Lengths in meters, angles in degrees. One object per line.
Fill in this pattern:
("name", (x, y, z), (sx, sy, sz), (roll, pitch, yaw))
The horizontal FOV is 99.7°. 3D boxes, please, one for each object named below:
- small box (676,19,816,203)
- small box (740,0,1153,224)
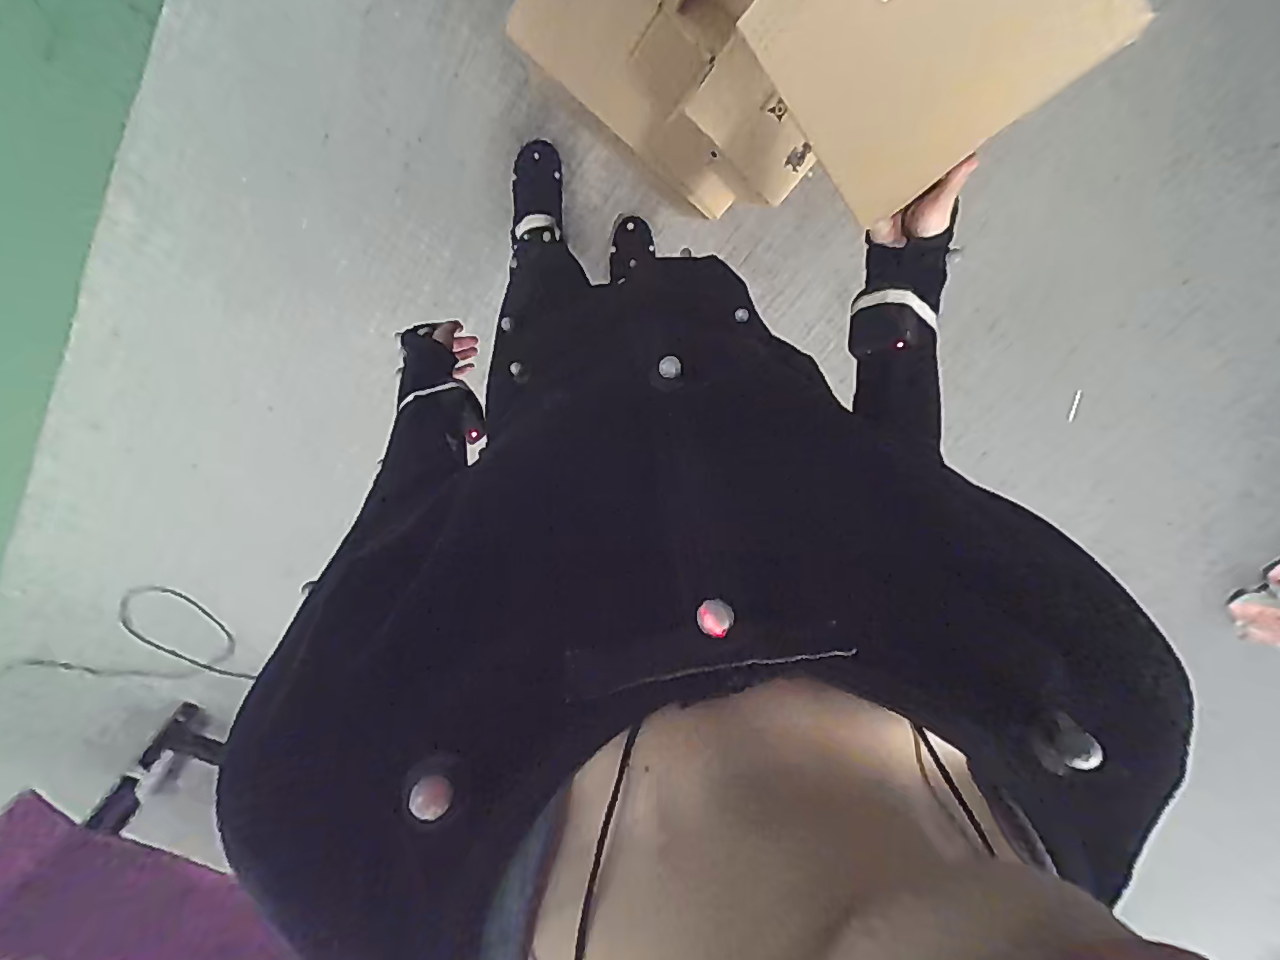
("small box", (0.165, -0.508, 0.741), (0.179, 0.176, 0.168), (37, 112, -19))
("small box", (0.203, -0.315, 0.370), (0.168, 0.179, 0.176), (-28, 100, 48))
